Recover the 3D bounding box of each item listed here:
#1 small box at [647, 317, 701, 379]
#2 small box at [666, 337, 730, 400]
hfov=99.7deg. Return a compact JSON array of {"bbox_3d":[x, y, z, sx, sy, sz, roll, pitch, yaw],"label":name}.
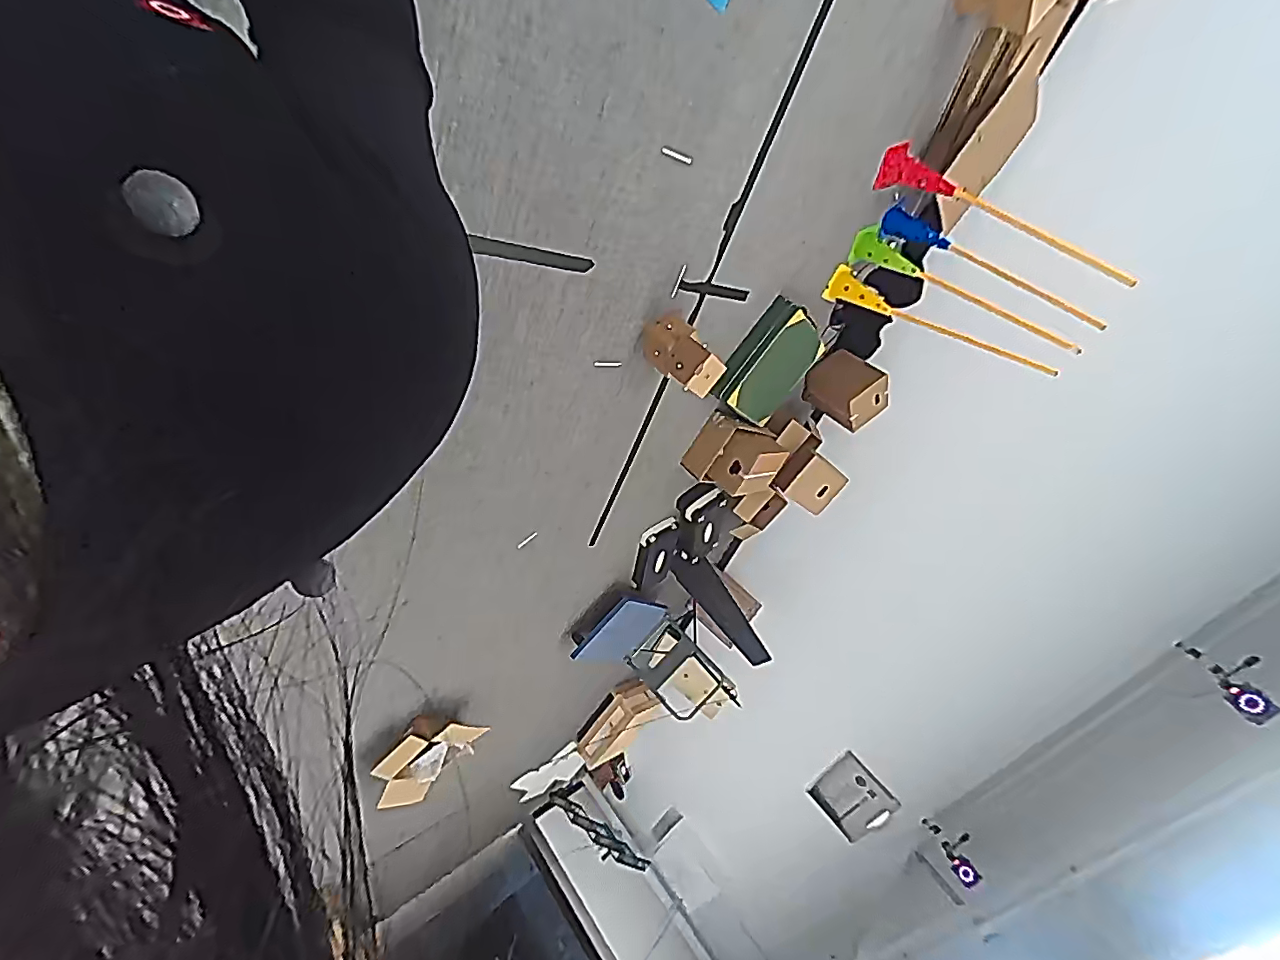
[{"bbox_3d":[0.145,-0.575,2.325,0.168,0.176,0.179,-35,150,-18],"label":"small box"},{"bbox_3d":[0.236,-0.465,2.239,0.168,0.176,0.179,-50,151,13],"label":"small box"}]
